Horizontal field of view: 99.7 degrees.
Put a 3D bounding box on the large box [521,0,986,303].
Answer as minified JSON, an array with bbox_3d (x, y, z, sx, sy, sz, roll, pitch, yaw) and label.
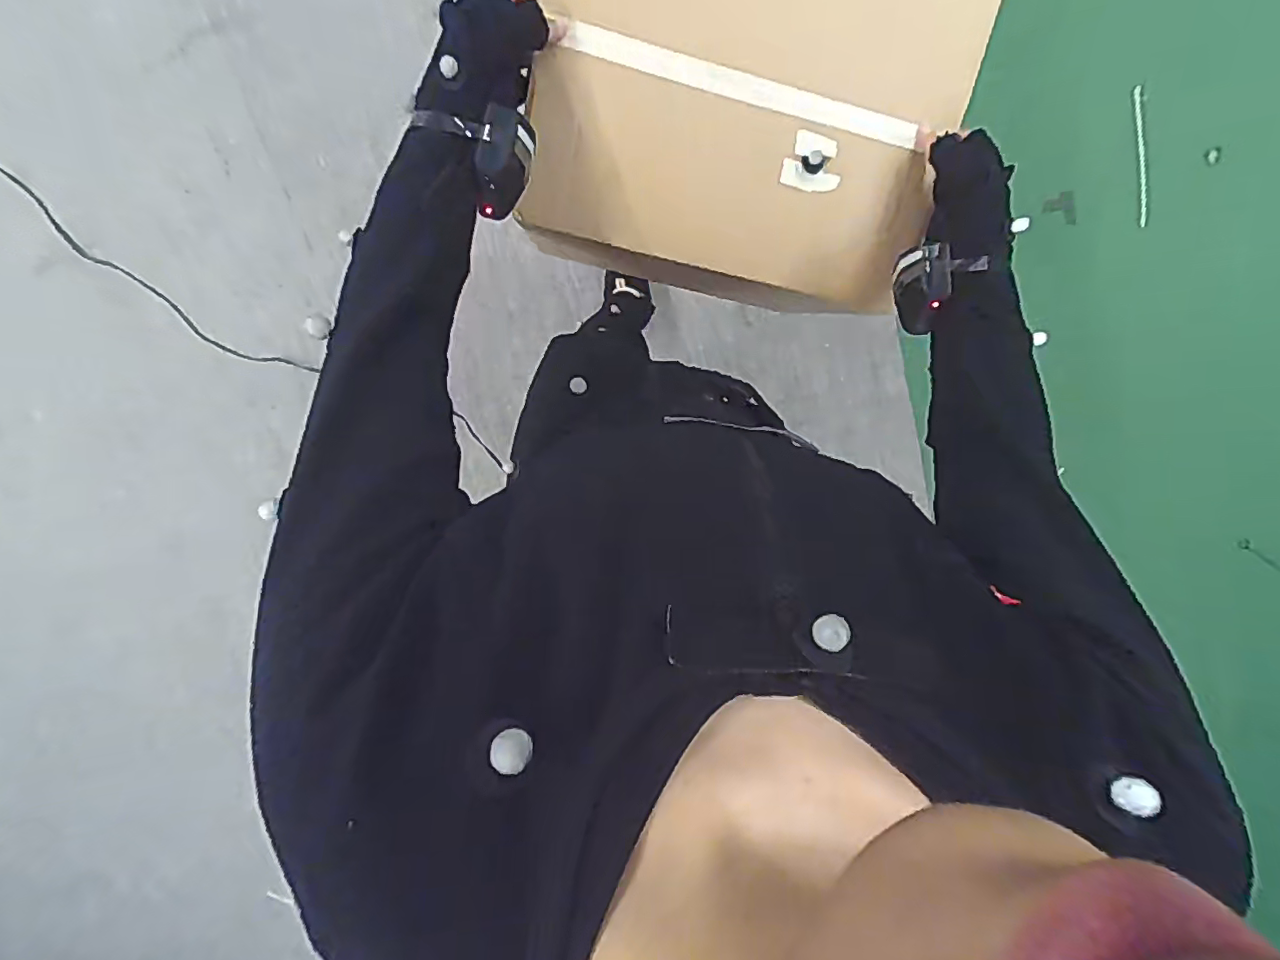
[{"bbox_3d":[0.088,-0.410,0.641,0.408,0.320,0.320,10,106,-10],"label":"large box"}]
